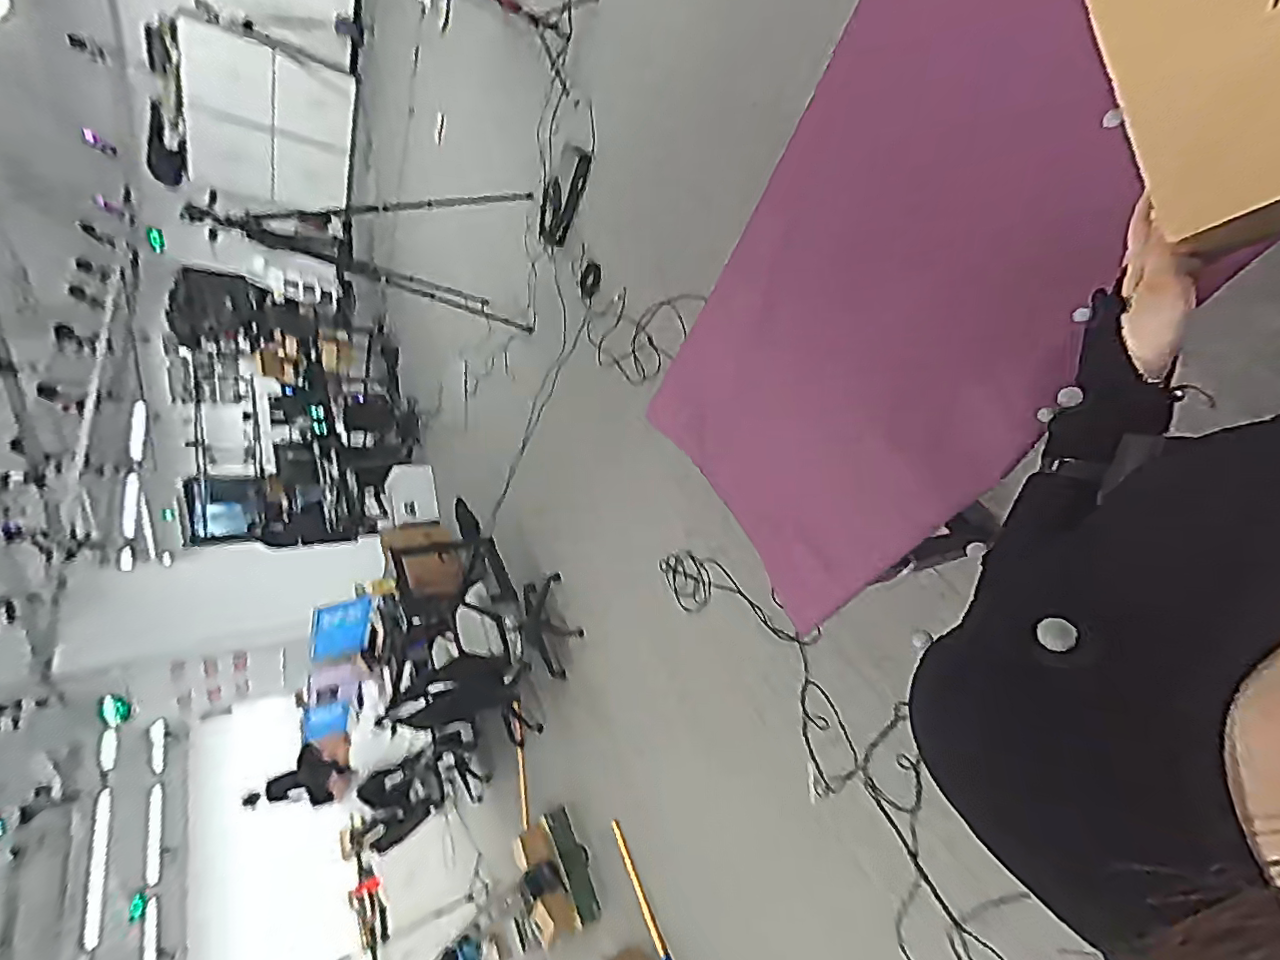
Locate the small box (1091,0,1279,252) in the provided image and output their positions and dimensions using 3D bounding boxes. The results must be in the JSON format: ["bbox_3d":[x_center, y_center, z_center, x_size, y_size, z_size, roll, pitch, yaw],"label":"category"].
[{"bbox_3d":[0.396,-0.253,0.308,0.168,0.176,0.179,-18,87,53],"label":"small box"}]
